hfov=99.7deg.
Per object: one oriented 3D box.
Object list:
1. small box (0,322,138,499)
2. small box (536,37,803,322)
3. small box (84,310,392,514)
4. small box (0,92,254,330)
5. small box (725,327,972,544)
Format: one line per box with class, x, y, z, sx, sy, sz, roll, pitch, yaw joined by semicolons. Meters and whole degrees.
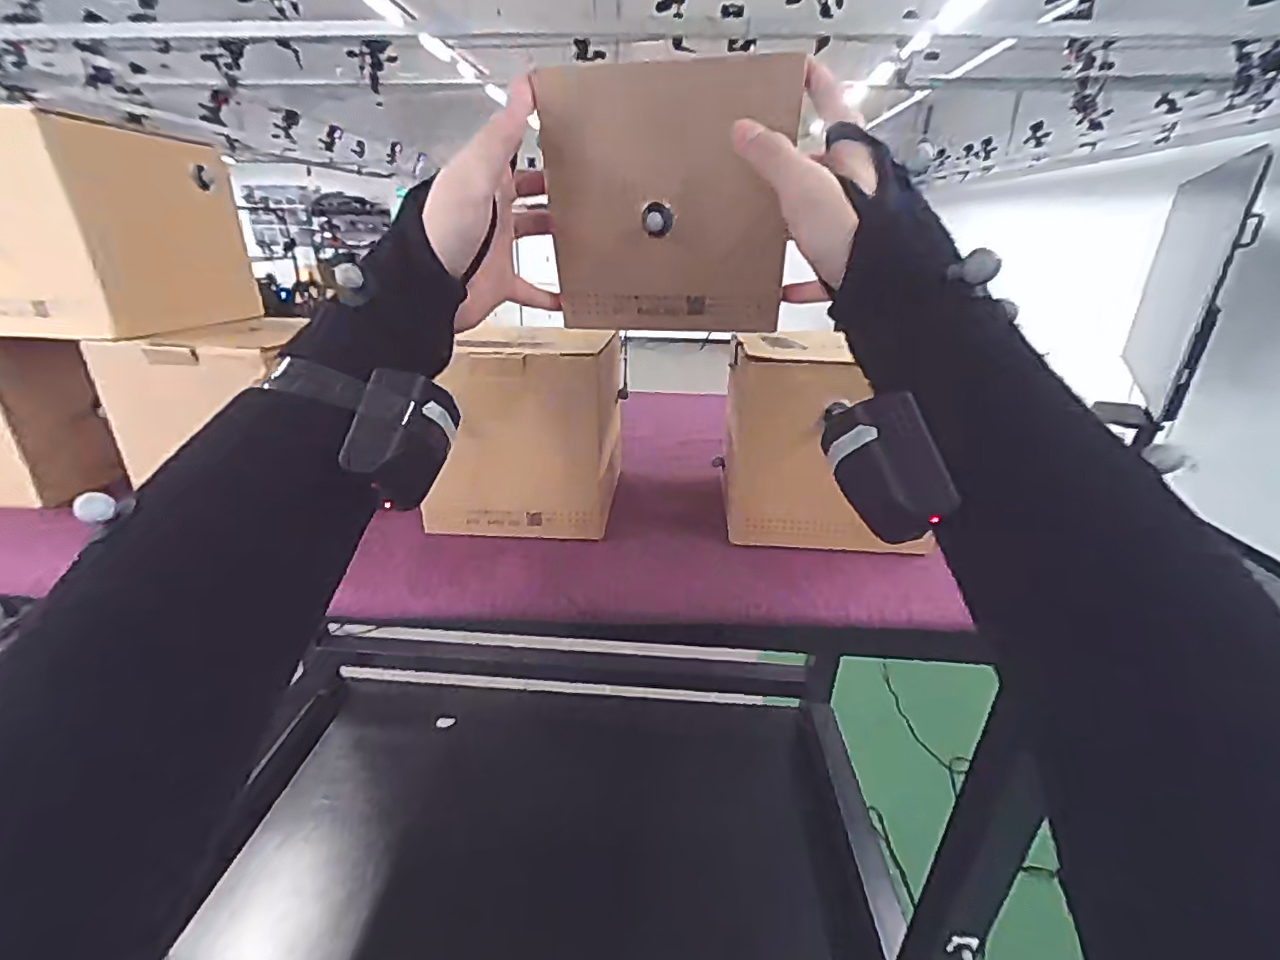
small box;-0.649;-0.089;0.560;0.179;0.176;0.168;3;23;1
small box;0.034;-0.235;0.432;0.168;0.176;0.179;5;36;10
small box;-0.377;-0.076;0.550;0.168;0.176;0.179;4;23;5
small box;-0.502;-0.233;0.496;0.168;0.176;0.179;3;23;3
small box;0.175;-0.050;0.519;0.179;0.176;0.168;3;23;4
